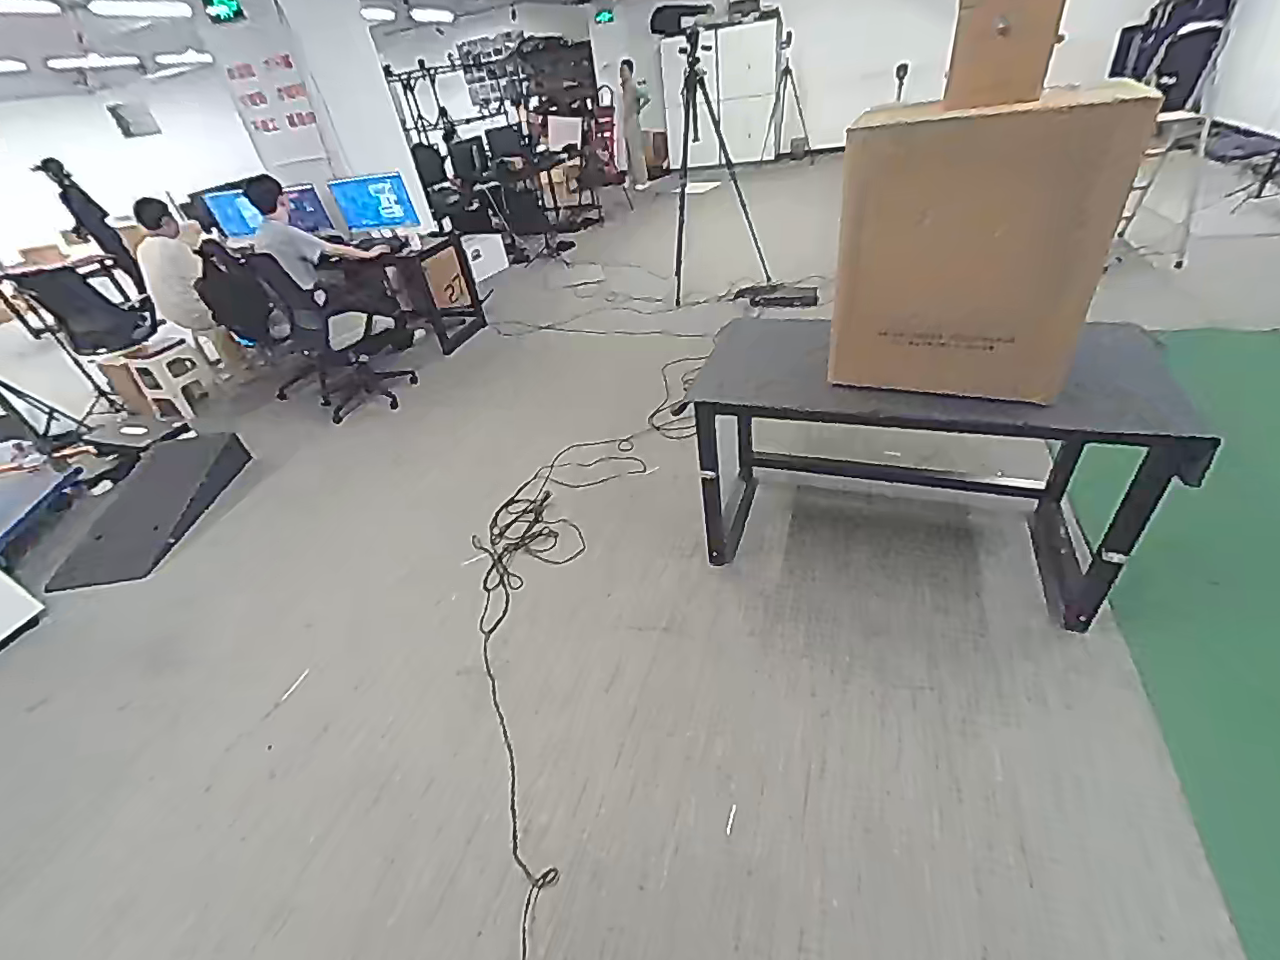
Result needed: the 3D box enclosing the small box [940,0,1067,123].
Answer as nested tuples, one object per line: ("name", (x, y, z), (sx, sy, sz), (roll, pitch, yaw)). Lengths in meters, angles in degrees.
("small box", (0.732, -0.846, 1.098), (0.179, 0.176, 0.168), (12, 44, 27))
